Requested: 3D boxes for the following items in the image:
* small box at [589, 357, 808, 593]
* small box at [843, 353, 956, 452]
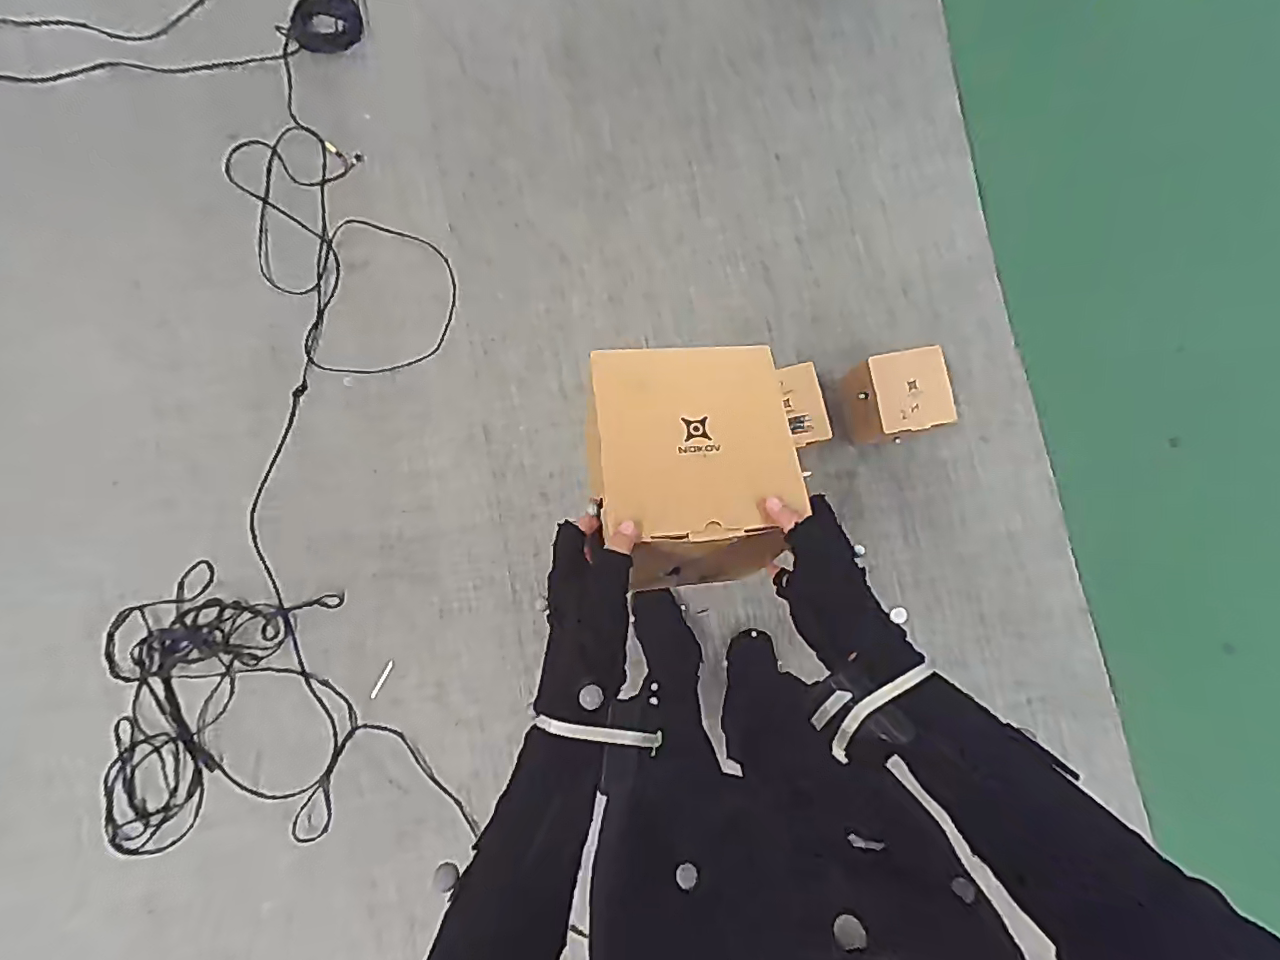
[{"bbox_3d":[0.038,0.001,0.534,0.168,0.176,0.179,-5,67,-8],"label":"small box"},{"bbox_3d":[0.592,-0.174,1.257,0.168,0.176,0.179,-10,85,0],"label":"small box"}]
